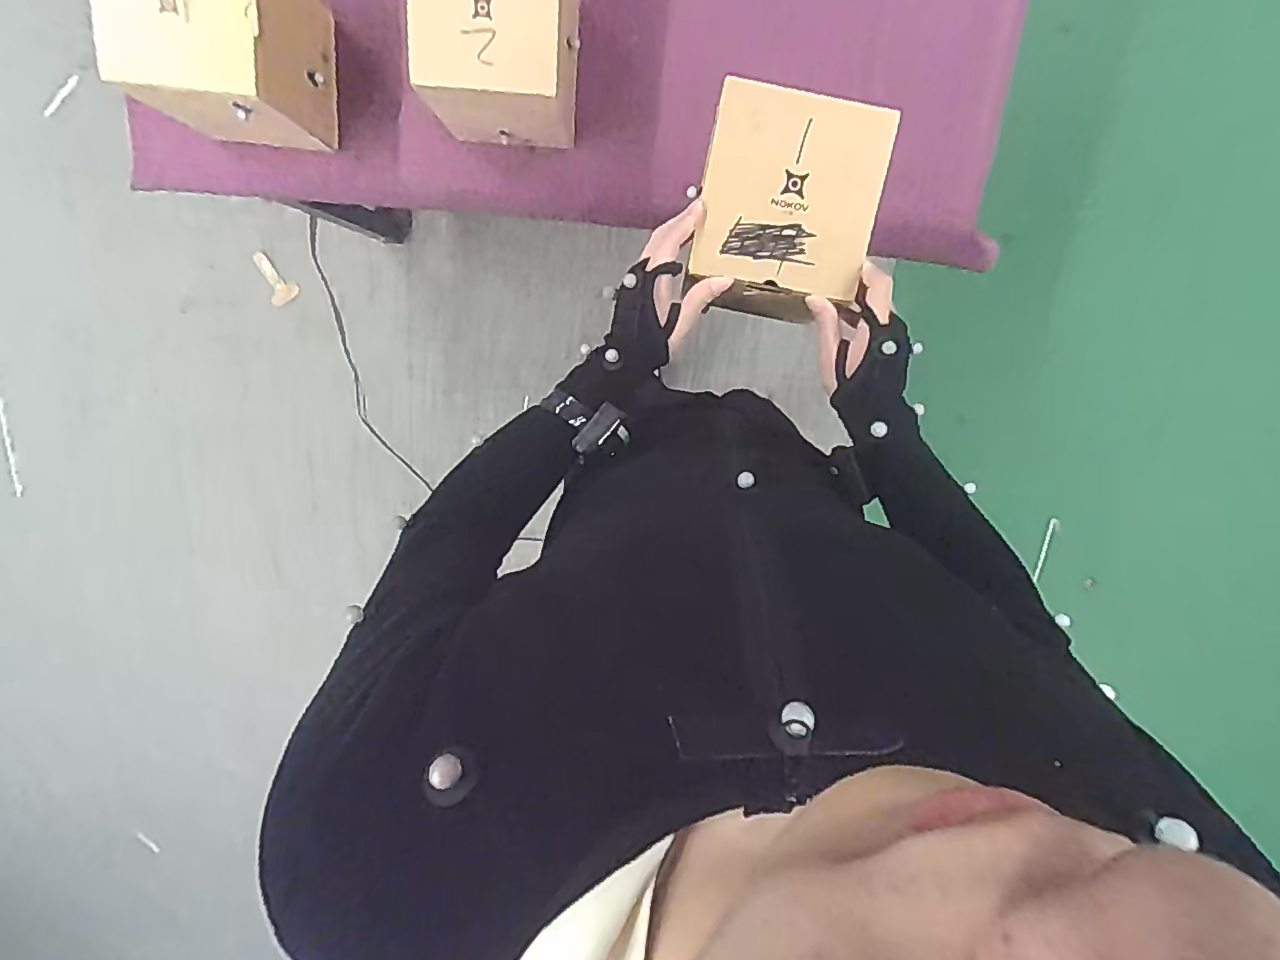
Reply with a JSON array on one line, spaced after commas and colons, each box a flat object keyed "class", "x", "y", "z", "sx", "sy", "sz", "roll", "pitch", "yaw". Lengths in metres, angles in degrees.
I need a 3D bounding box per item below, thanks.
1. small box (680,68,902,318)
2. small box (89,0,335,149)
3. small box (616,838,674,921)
[{"class": "small box", "x": 0.140, "y": -0.279, "z": 0.572, "sx": 0.168, "sy": 0.176, "sz": 0.179, "roll": 12, "pitch": 99, "yaw": 0}, {"class": "small box", "x": -0.503, "y": -0.526, "z": 0.655, "sx": 0.179, "sy": 0.176, "sz": 0.168, "roll": 5, "pitch": 103, "yaw": -2}, {"class": "small box", "x": 0.015, "y": 1.392, "z": 1.892, "sx": 0.179, "sy": 0.176, "sz": 0.168, "roll": 8, "pitch": 104, "yaw": -3}]
